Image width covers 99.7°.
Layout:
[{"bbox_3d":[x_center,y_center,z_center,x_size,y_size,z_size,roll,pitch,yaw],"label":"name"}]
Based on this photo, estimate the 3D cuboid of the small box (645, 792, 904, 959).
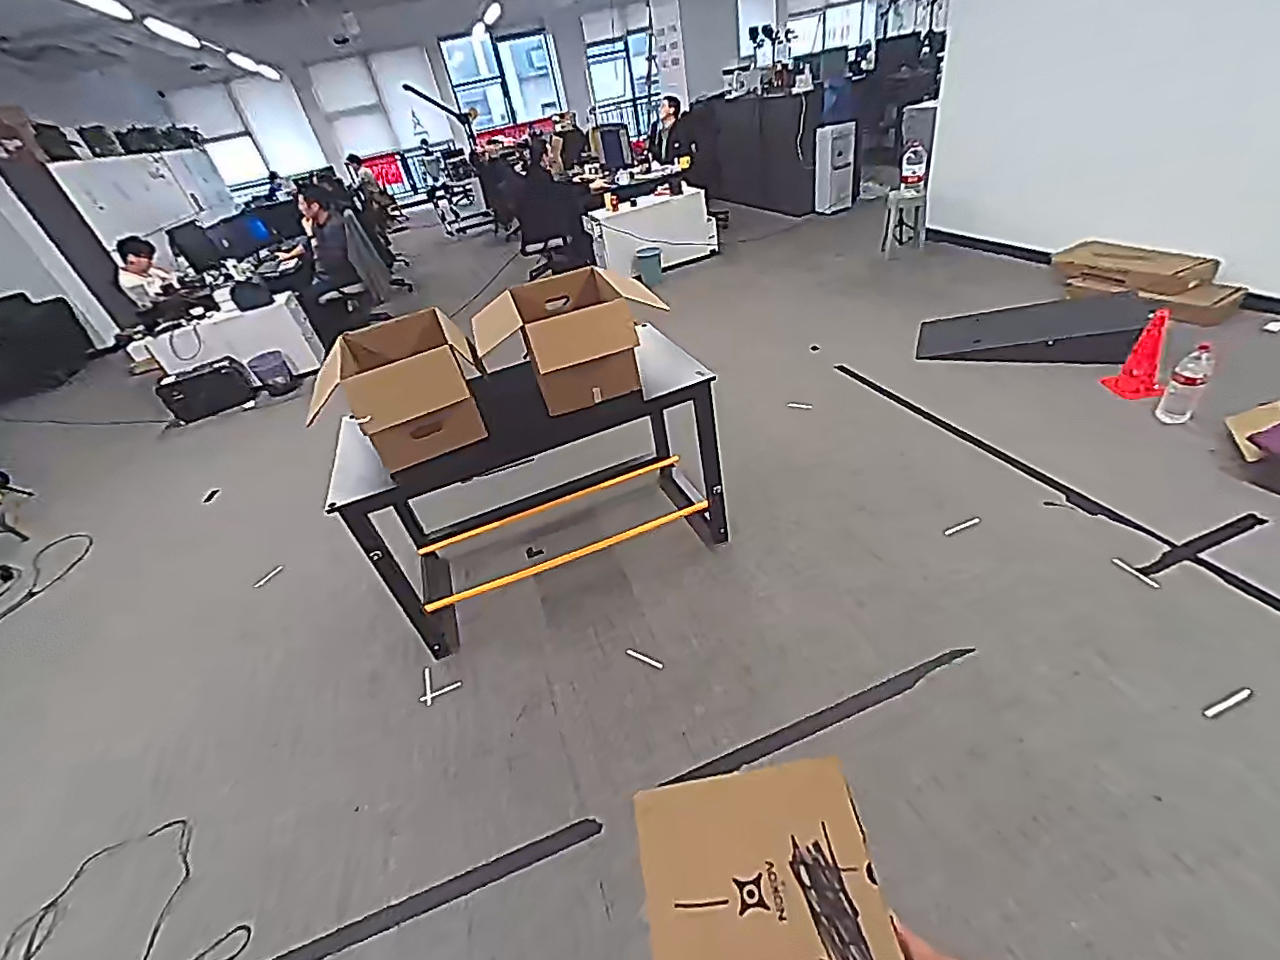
[{"bbox_3d":[0.106,0.384,0.461,0.179,0.176,0.168,-10,49,1],"label":"small box"}]
